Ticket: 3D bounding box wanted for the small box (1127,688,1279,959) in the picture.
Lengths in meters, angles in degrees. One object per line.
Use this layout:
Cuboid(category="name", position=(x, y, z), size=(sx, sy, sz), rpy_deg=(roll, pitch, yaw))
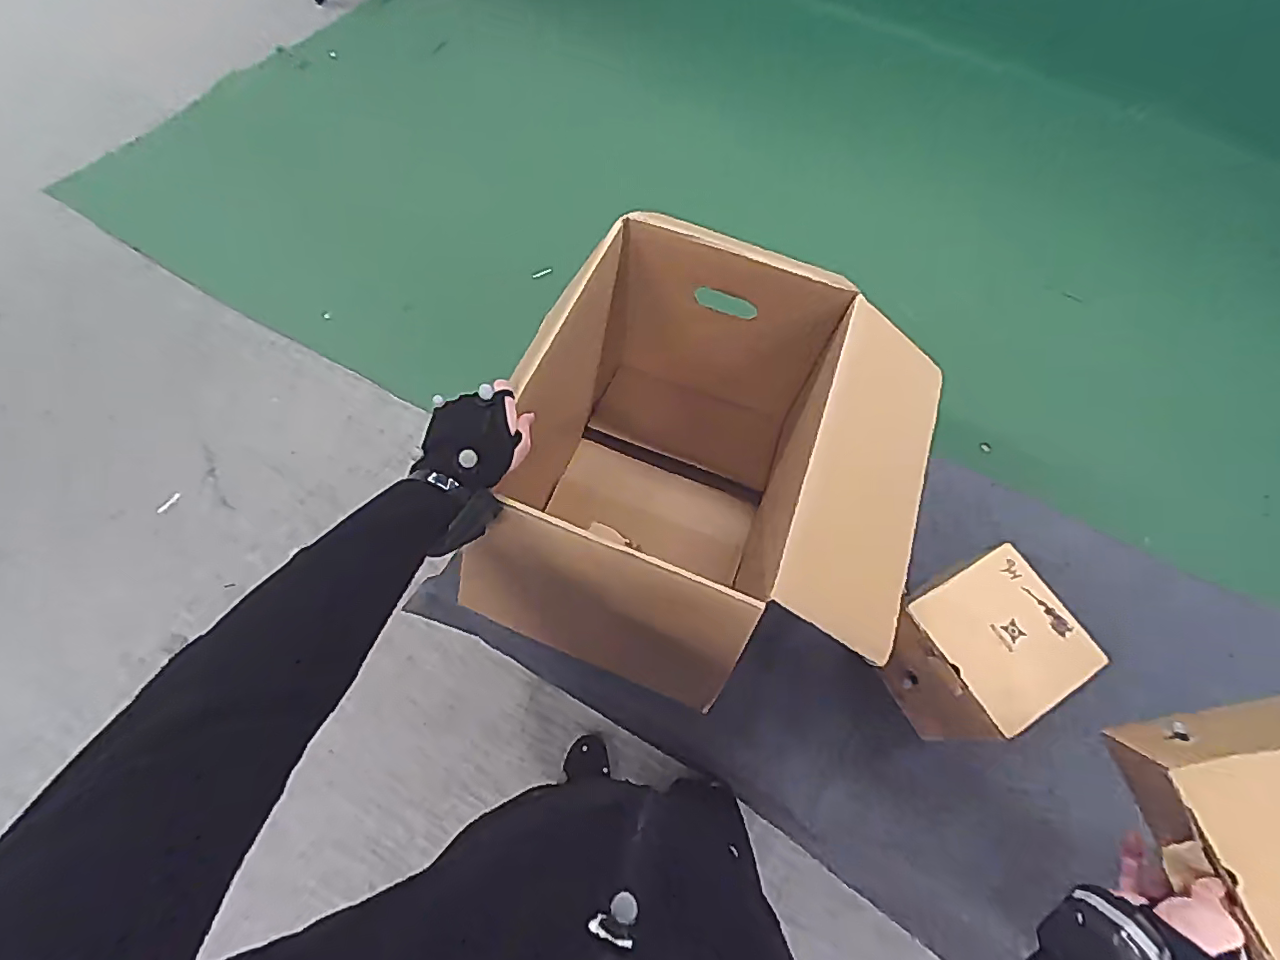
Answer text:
Cuboid(category="small box", position=(0.579, 0.292, 0.472), size=(0.179, 0.176, 0.168), rpy_deg=(-24, 68, 18))
